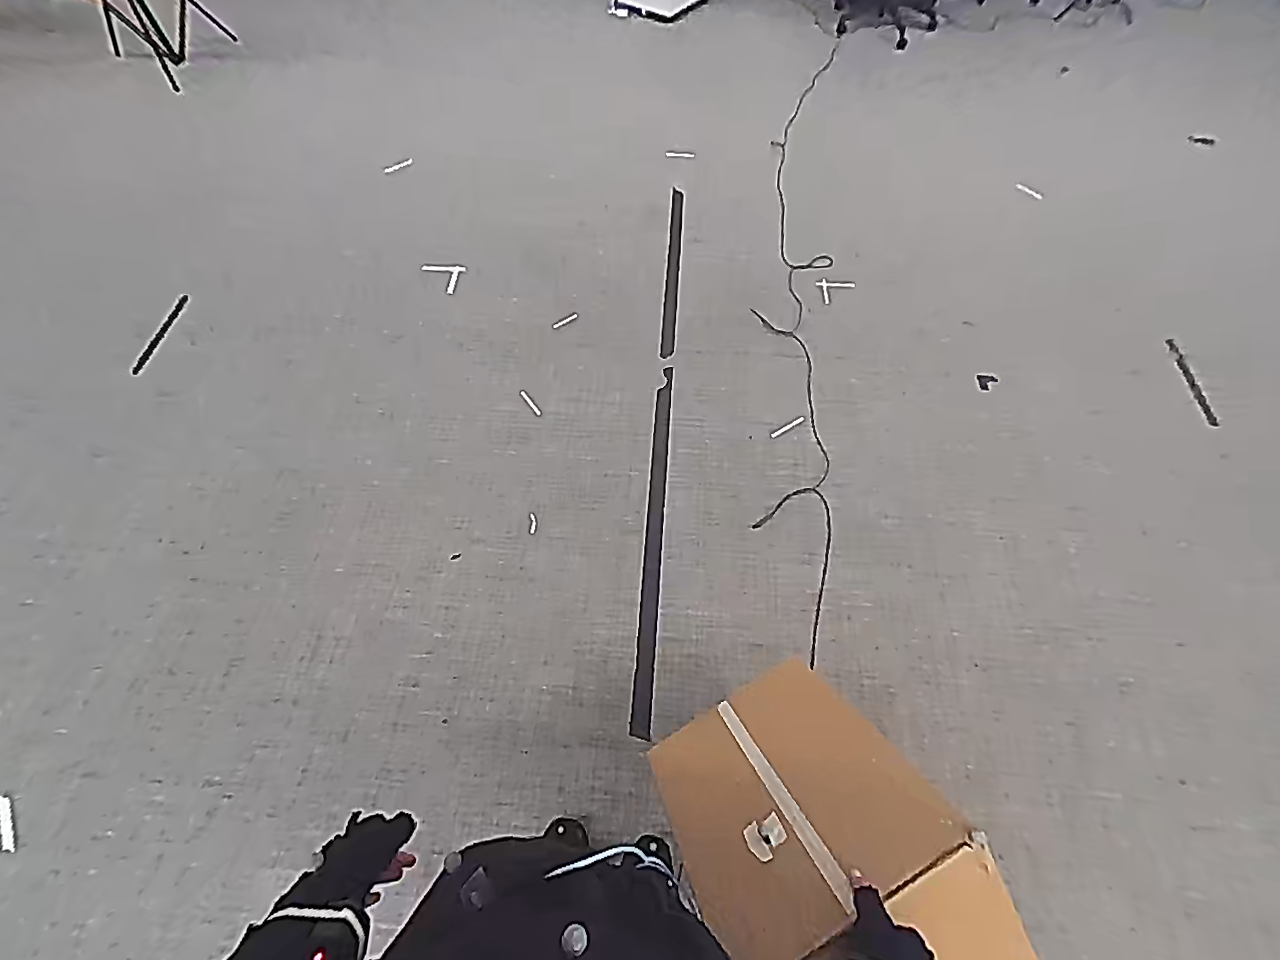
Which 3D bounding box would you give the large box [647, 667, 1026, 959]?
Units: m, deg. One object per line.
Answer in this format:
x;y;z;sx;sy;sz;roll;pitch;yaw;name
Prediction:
0.253;0.558;0.785;0.320;0.408;0.320;-31;104;-7;large box
